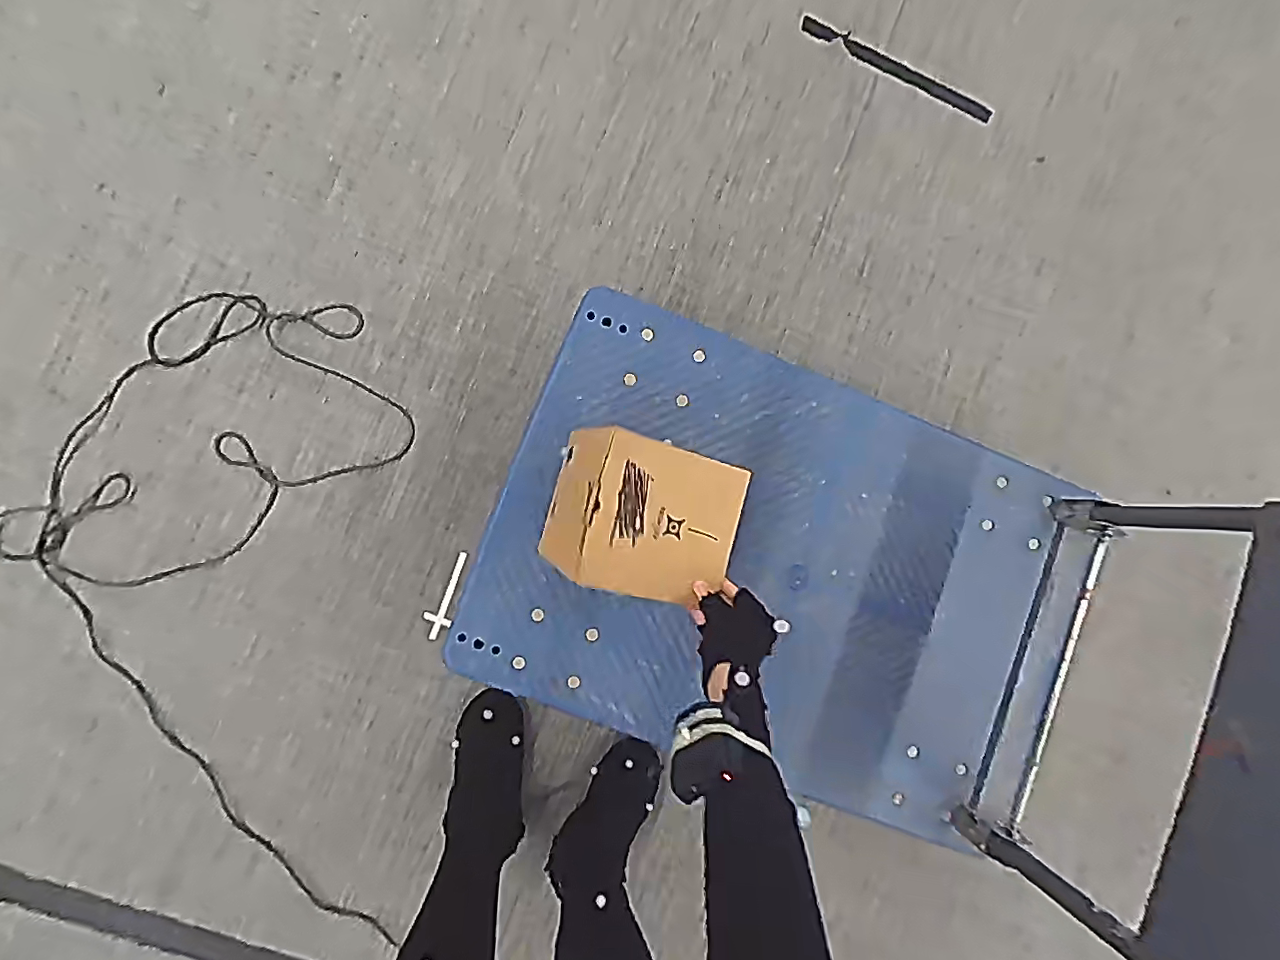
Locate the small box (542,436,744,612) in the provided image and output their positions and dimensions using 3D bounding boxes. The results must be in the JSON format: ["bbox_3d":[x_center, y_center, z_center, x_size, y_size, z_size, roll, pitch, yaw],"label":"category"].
[{"bbox_3d":[-0.006,0.049,0.658,0.179,0.176,0.168,14,88,-25],"label":"small box"}]
